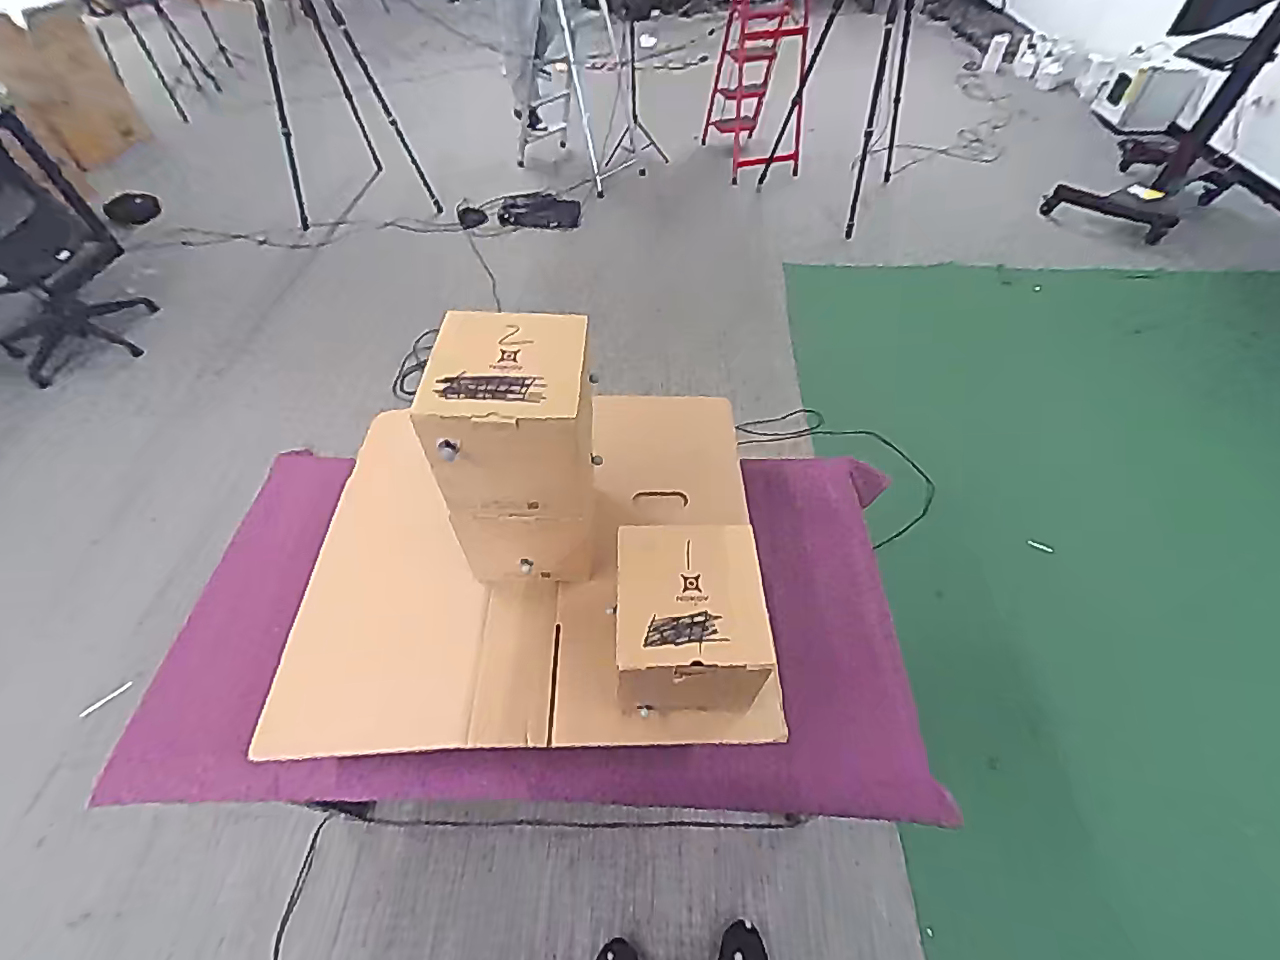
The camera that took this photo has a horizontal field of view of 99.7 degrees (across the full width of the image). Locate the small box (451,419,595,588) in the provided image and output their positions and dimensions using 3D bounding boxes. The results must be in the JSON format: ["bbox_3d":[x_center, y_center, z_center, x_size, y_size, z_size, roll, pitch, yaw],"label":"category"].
[{"bbox_3d":[-0.151,0.034,0.768,0.168,0.176,0.179,1,52,-2],"label":"small box"}]

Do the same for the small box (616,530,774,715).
[{"bbox_3d":[0.056,0.179,0.663,0.168,0.176,0.179,0,51,-2],"label":"small box"}]
